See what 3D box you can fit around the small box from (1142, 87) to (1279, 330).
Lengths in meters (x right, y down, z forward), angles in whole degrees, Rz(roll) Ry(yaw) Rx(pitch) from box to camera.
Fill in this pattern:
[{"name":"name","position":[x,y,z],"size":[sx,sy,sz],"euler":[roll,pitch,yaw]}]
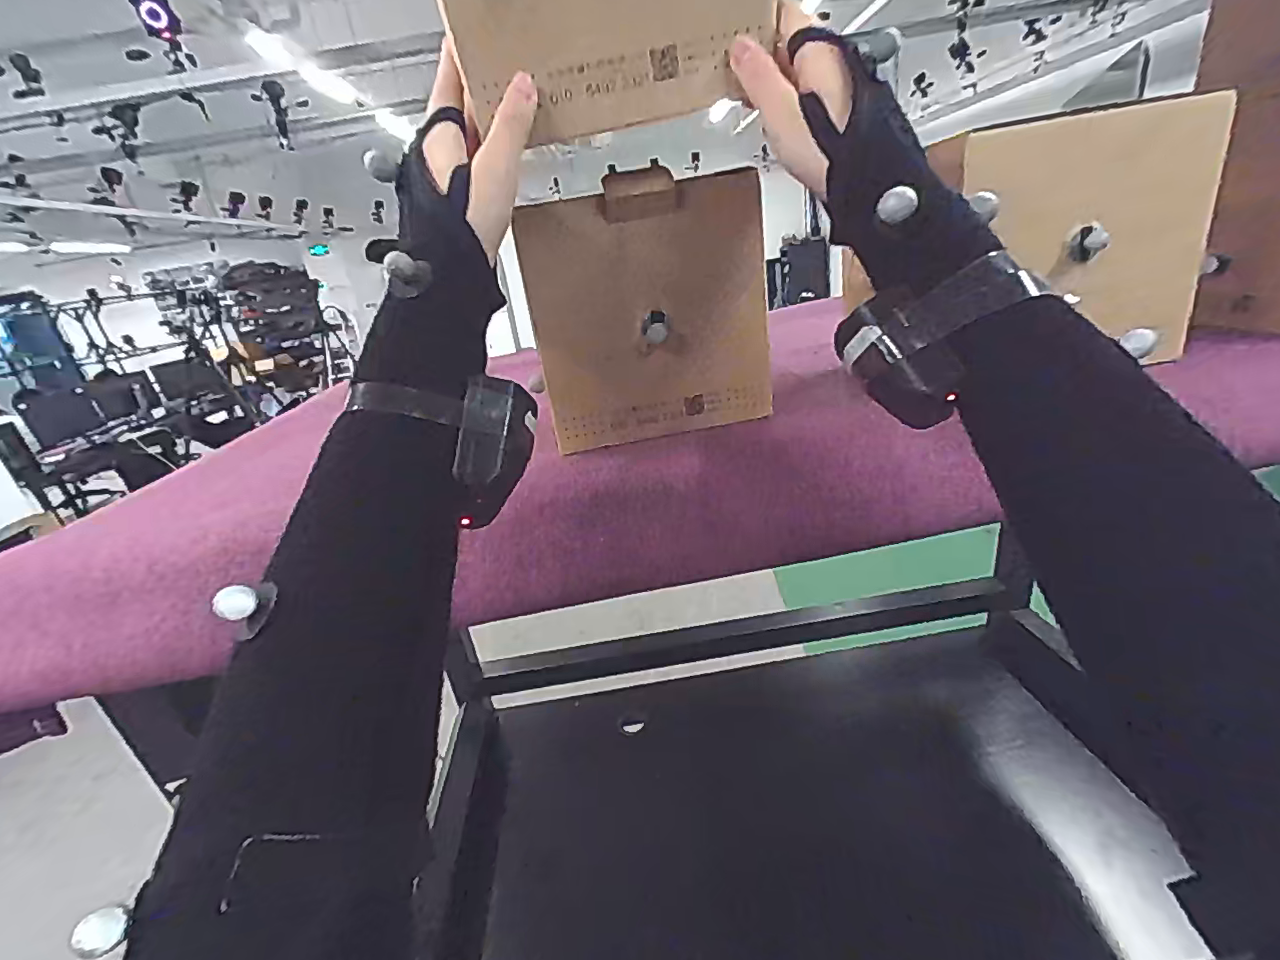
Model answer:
[{"name":"small box","position":[0.555,-0.221,0.422],"size":[0.179,0.176,0.168],"euler":[-10,23,1]}]

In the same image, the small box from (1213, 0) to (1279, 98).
[{"name":"small box","position":[0.534,-0.363,0.338],"size":[0.179,0.176,0.168],"euler":[-10,23,0]}]

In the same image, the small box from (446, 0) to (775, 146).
[{"name":"small box","position":[-0.029,-0.307,0.313],"size":[0.168,0.176,0.179],"euler":[-13,33,-1]}]

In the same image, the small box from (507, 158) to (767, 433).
[{"name":"small box","position":[-0.002,-0.144,0.445],"size":[0.168,0.176,0.179],"euler":[-10,22,-4]}]
